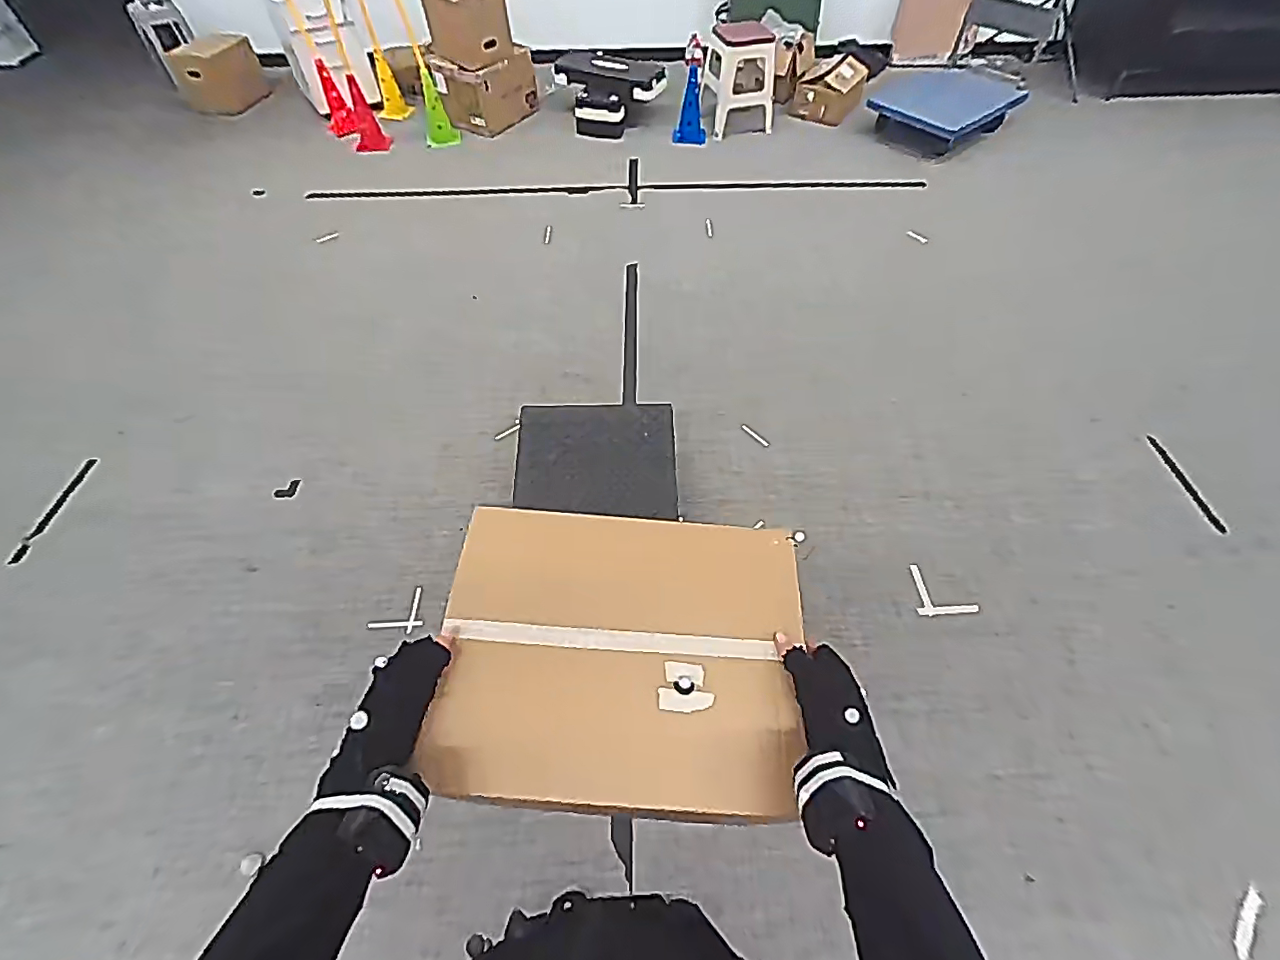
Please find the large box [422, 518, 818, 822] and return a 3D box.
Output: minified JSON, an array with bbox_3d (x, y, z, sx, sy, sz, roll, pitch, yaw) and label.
[{"bbox_3d":[-0.022,0.271,0.739,0.408,0.320,0.320,5,57,-1],"label":"large box"}]
